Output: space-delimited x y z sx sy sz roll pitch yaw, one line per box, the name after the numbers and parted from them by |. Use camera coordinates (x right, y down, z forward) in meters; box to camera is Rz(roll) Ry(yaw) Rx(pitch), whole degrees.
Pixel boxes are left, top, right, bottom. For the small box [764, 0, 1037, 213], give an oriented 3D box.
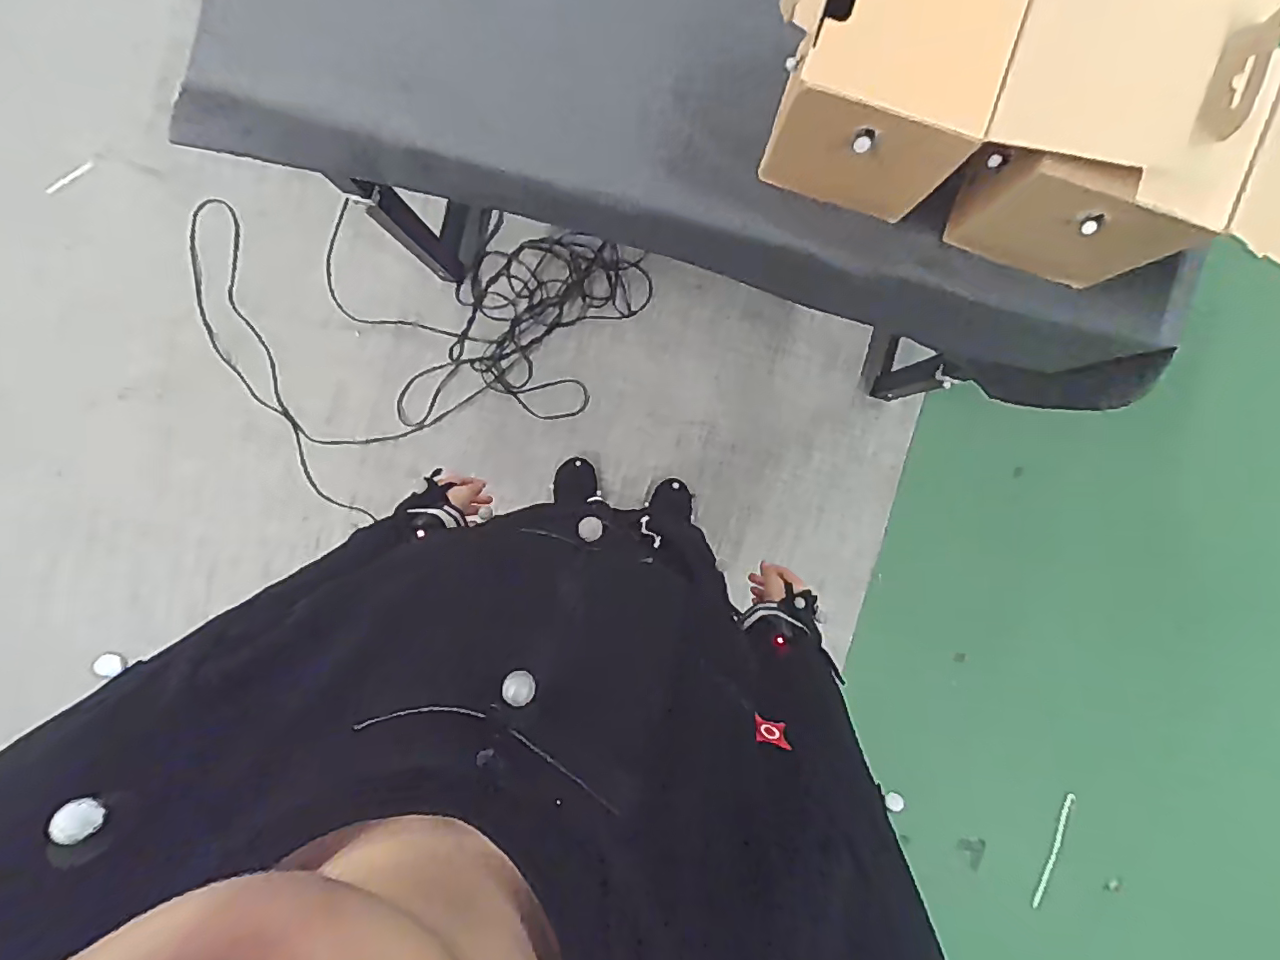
0.246 -0.401 0.546 0.179 0.176 0.168 18 92 0 | small box
